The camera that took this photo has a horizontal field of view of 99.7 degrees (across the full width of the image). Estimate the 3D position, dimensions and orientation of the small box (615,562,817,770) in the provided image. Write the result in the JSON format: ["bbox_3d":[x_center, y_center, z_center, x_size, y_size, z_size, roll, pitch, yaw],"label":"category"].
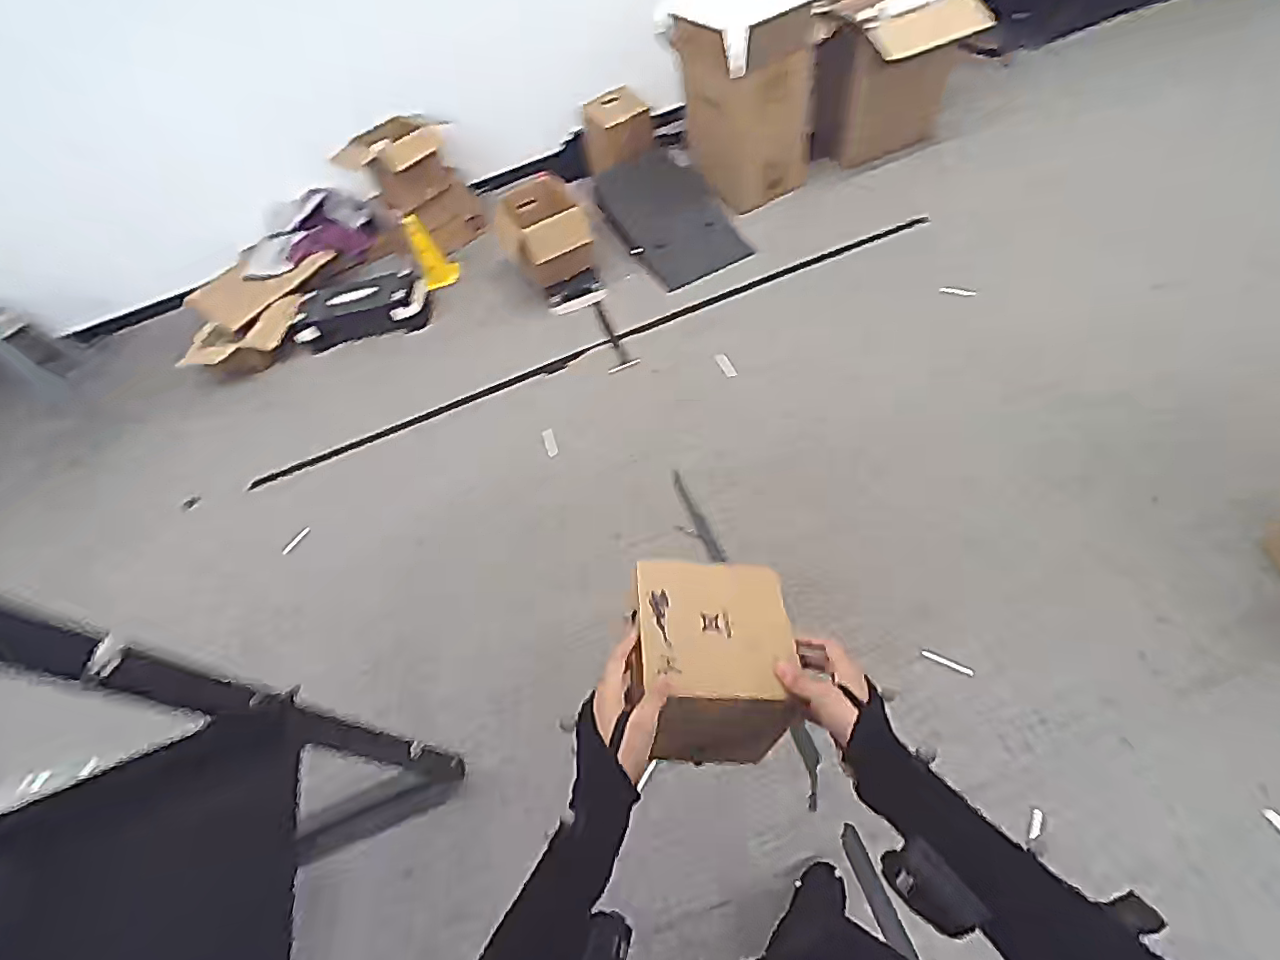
[{"bbox_3d":[0.075,0.223,0.636,0.179,0.176,0.168,9,40,-9],"label":"small box"}]
